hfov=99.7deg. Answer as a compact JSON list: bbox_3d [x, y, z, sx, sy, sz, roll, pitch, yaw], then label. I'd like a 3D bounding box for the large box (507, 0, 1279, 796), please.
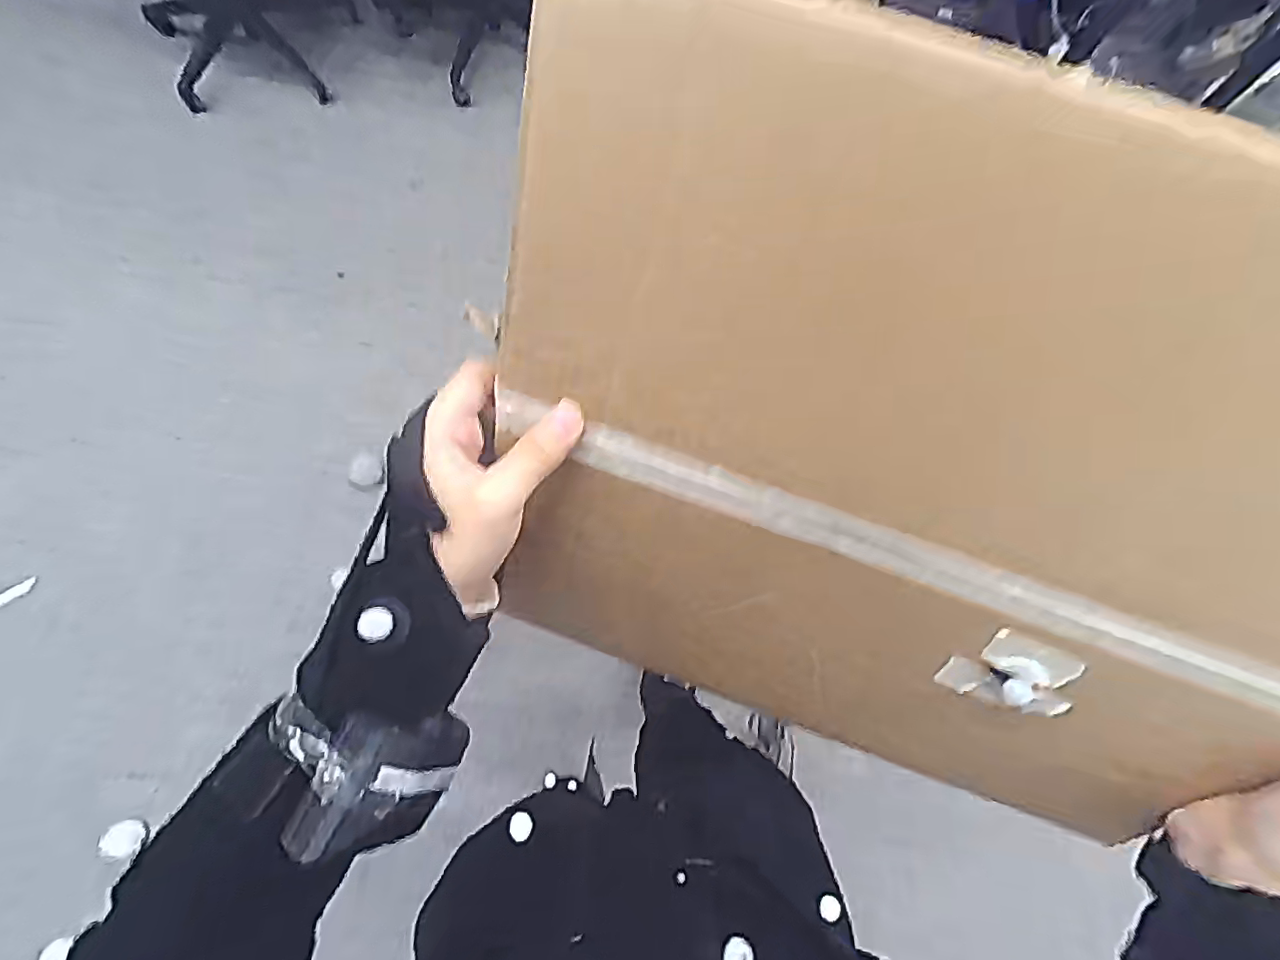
[{"bbox_3d":[0.169,-0.076,0.350,0.408,0.320,0.320,19,40,2],"label":"large box"}]
